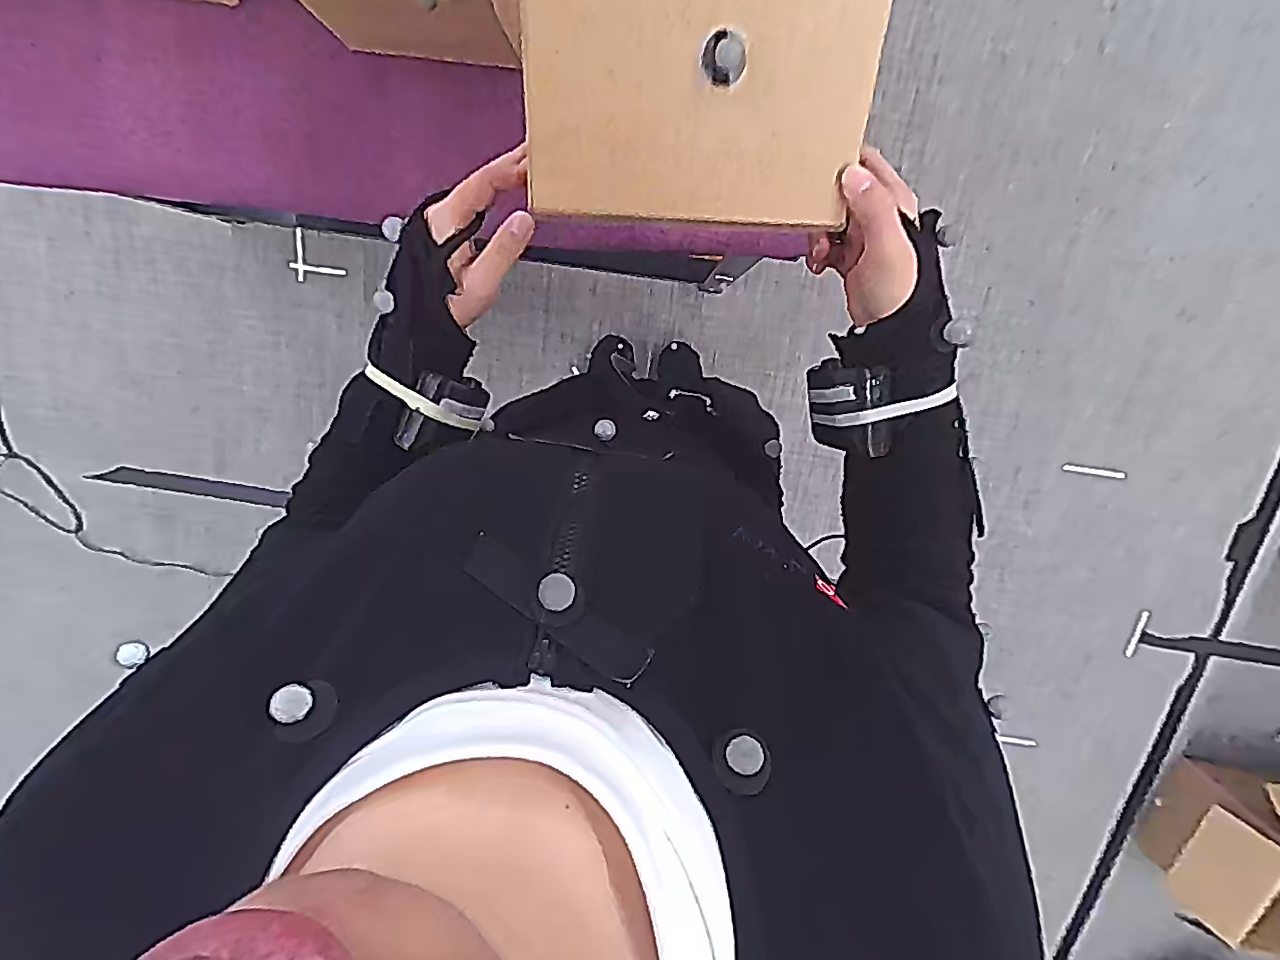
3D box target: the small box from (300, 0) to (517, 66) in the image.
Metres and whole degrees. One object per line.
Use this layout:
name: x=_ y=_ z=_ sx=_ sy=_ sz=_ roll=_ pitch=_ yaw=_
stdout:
small box: x=-0.192 y=-0.467 z=0.430 sx=0.179 sy=0.176 sz=0.168 roll=7 pitch=104 yaw=1

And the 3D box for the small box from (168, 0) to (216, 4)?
small box: x=-0.464 y=-0.528 z=0.430 sx=0.179 sy=0.176 sz=0.168 roll=8 pitch=105 yaw=1

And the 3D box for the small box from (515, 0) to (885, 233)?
small box: x=0.022 y=-0.249 z=0.317 sx=0.179 sy=0.168 sz=0.176 roll=-1 pitch=122 yaw=-4
